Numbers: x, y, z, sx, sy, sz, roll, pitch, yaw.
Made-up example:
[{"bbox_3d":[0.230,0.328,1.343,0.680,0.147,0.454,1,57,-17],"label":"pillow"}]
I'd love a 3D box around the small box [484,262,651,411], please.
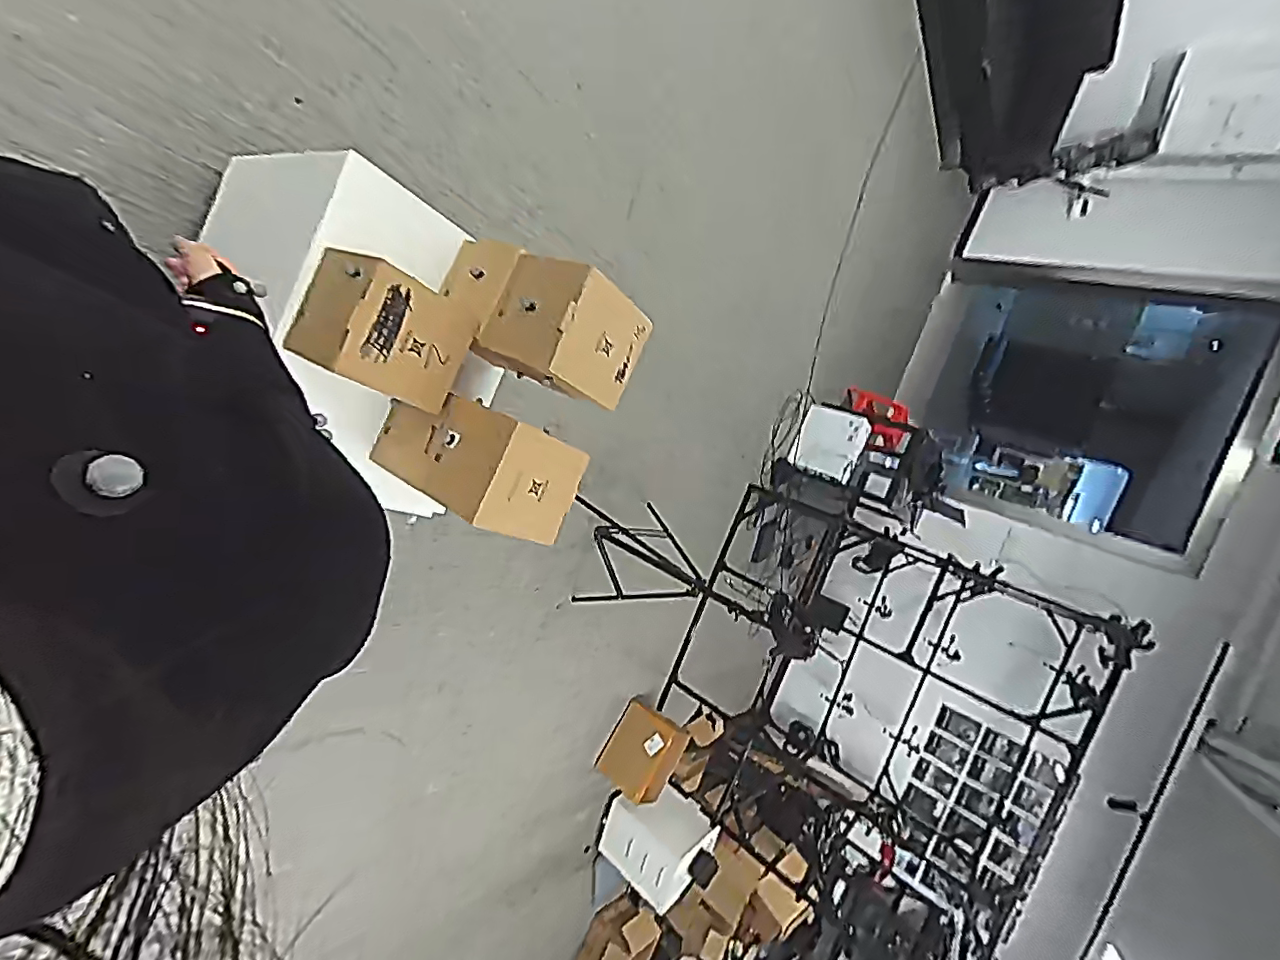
[{"bbox_3d":[-0.119,-0.235,0.881,0.179,0.176,0.168,28,86,-54],"label":"small box"}]

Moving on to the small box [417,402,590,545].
[{"bbox_3d":[-0.220,-0.012,0.878,0.179,0.176,0.168,26,87,-53],"label":"small box"}]

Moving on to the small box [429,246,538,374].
[{"bbox_3d":[-0.242,-0.299,0.971,0.179,0.176,0.168,28,87,-55],"label":"small box"}]
